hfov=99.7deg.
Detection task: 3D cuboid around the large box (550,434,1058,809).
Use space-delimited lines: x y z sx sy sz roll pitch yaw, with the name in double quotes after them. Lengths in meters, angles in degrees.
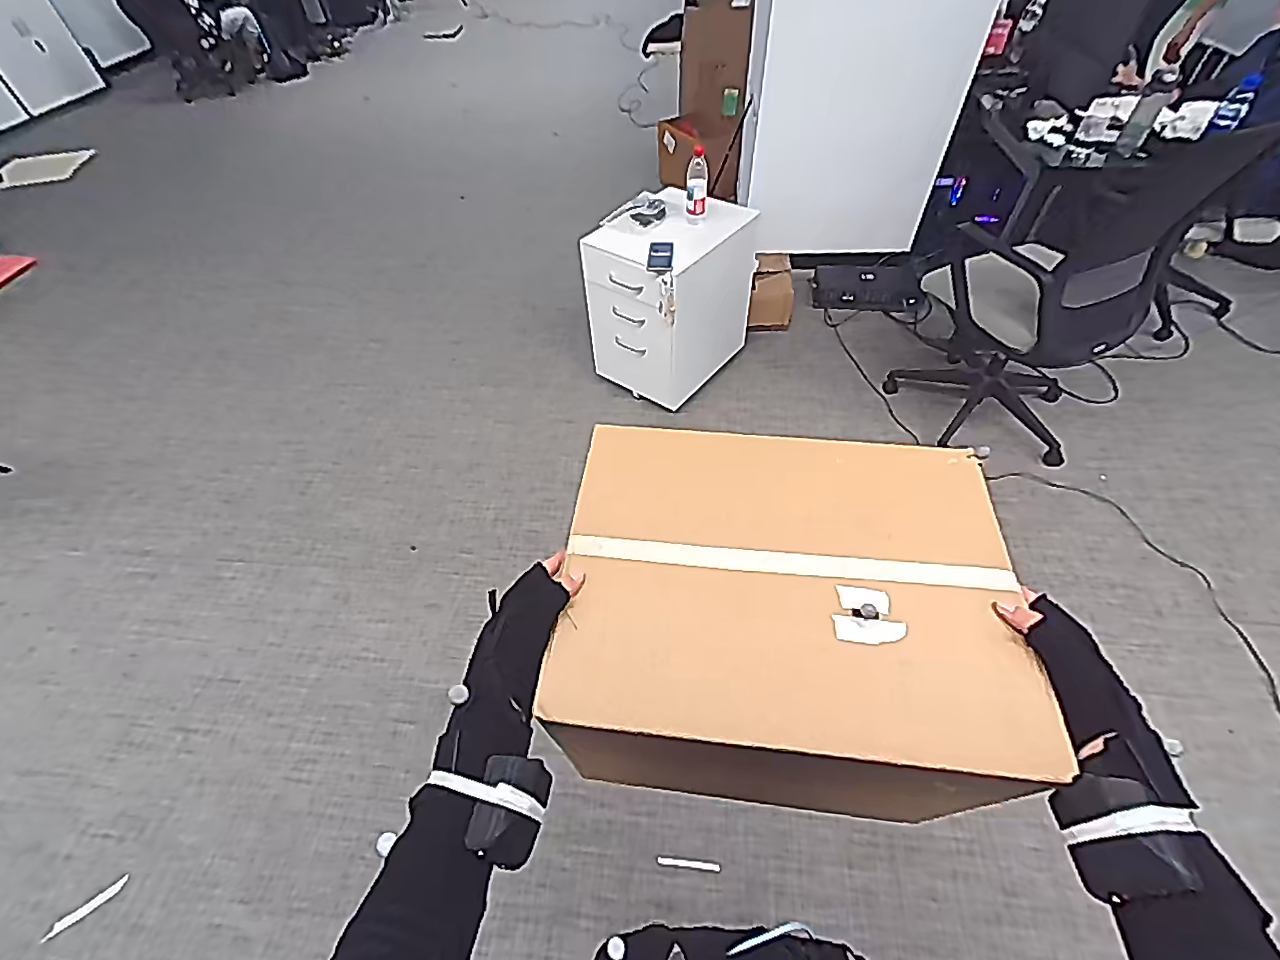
0.139 0.170 0.629 0.408 0.320 0.320 4 55 5 "large box"
